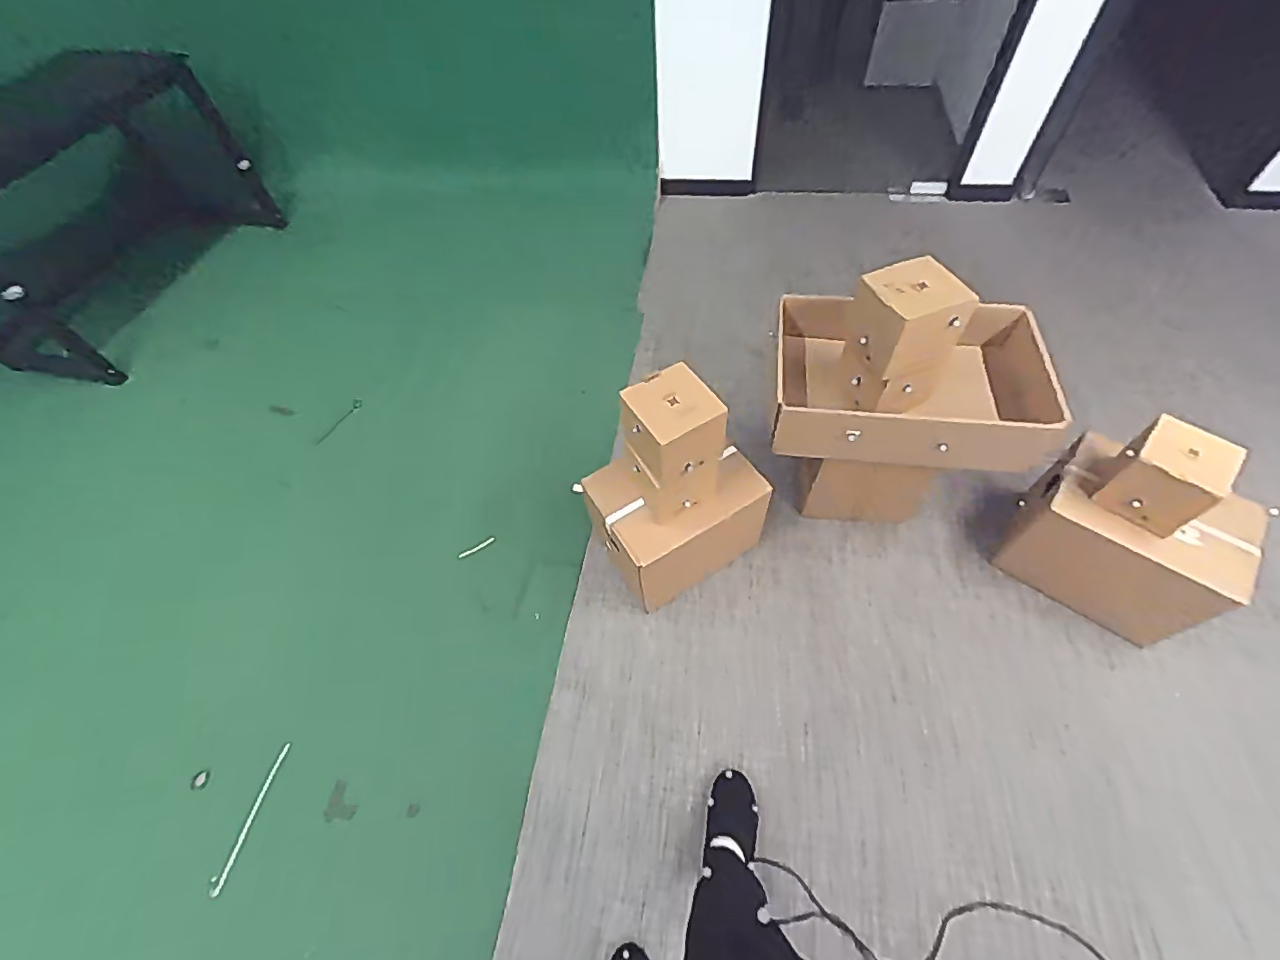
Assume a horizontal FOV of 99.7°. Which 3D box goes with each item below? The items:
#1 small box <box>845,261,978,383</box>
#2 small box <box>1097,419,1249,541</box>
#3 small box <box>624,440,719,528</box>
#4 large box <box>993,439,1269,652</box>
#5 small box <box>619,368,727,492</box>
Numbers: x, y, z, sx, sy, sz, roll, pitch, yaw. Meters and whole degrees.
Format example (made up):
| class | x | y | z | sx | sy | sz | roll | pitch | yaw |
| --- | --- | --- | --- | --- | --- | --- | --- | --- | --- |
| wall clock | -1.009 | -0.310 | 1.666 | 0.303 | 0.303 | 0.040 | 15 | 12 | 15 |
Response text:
| class | x | y | z | sx | sy | sz | roll | pitch | yaw |
| --- | --- | --- | --- | --- | --- | --- | --- | --- | --- |
| small box | 0.580 | -0.342 | 1.183 | 0.179 | 0.176 | 0.168 | -19 | 55 | -8 |
| small box | 1.200 | 0.002 | 1.230 | 0.168 | 0.176 | 0.179 | 37 | 64 | 25 |
| small box | 0.073 | -0.016 | 1.321 | 0.168 | 0.176 | 0.179 | -25 | 58 | -13 |
| large box | 1.241 | 0.169 | 1.408 | 0.408 | 0.320 | 0.320 | 34 | 64 | 22 |
| small box | 0.070 | -0.107 | 1.186 | 0.168 | 0.176 | 0.179 | -28 | 58 | -14 |
